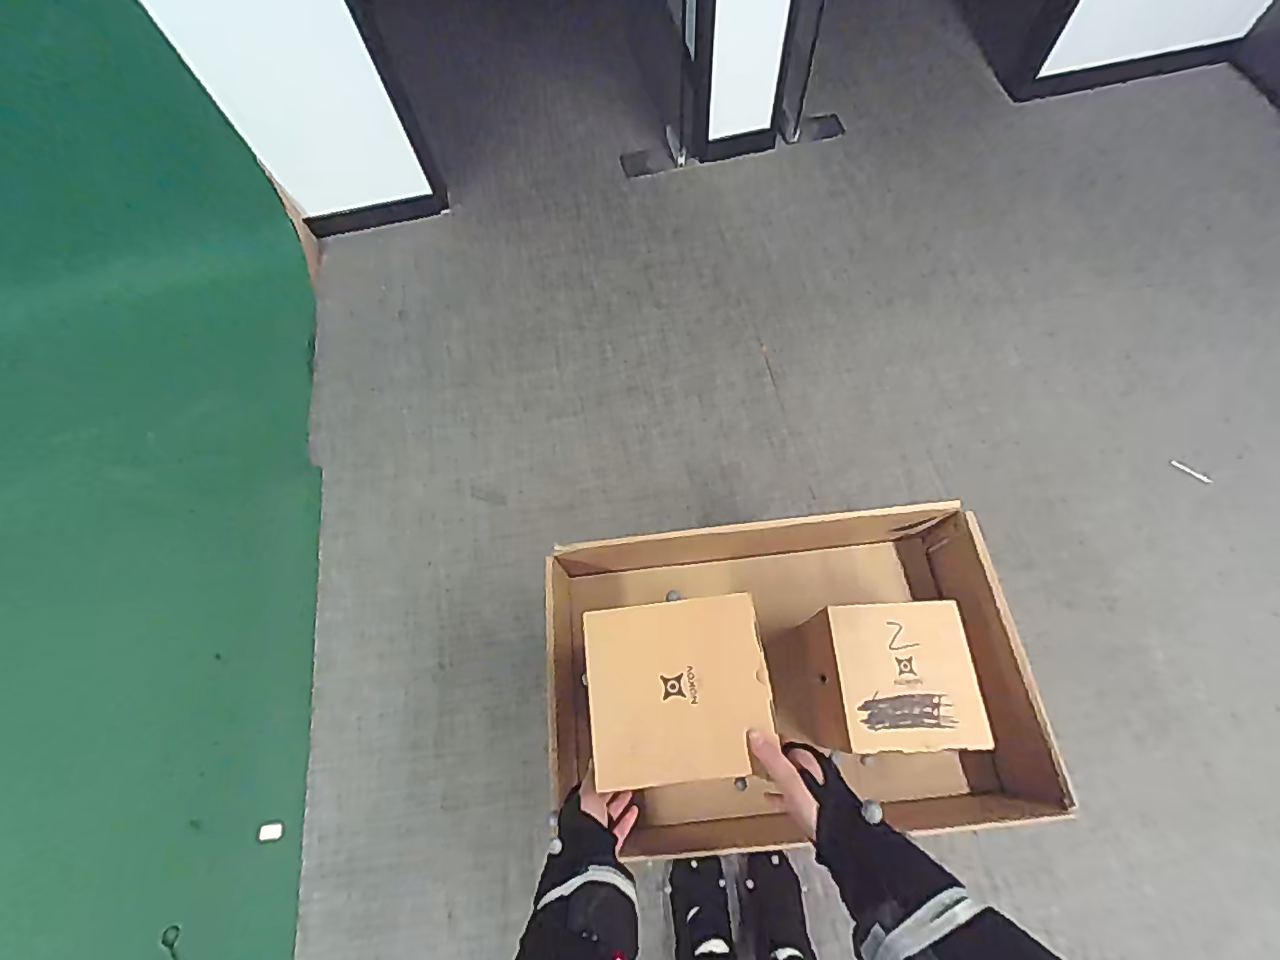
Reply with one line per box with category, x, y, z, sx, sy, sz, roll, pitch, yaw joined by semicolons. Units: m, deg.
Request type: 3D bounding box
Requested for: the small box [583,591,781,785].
small box;0.039;0.229;0.597;0.179;0.176;0.168;-7;67;-1
